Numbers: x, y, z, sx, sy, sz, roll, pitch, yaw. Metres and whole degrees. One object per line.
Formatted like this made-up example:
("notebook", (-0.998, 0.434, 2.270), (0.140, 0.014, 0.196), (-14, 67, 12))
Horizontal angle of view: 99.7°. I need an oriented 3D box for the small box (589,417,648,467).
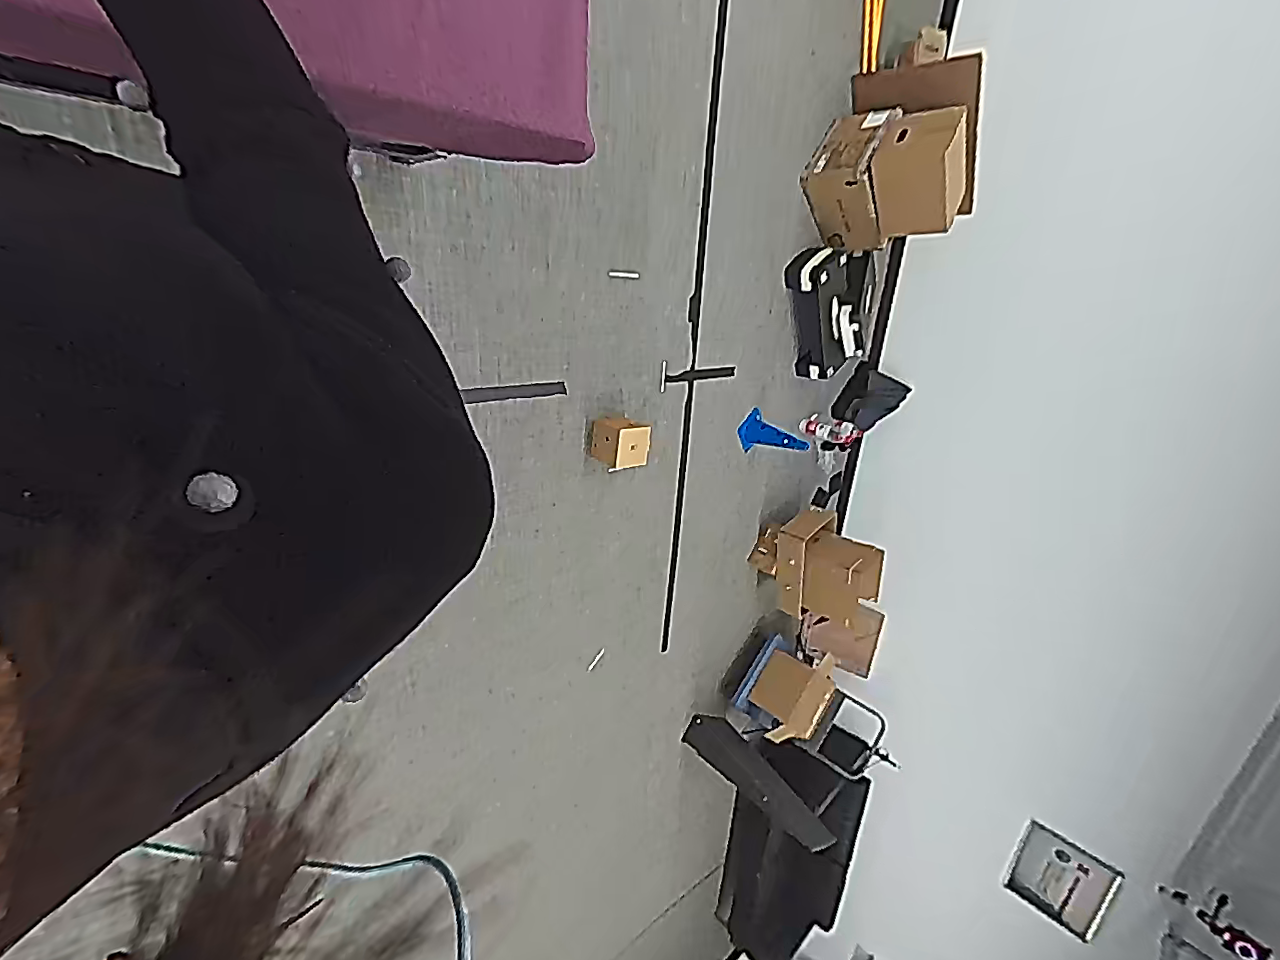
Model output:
("small box", (-0.092, -0.160, 2.221), (0.179, 0.176, 0.168), (-12, 116, -44))
